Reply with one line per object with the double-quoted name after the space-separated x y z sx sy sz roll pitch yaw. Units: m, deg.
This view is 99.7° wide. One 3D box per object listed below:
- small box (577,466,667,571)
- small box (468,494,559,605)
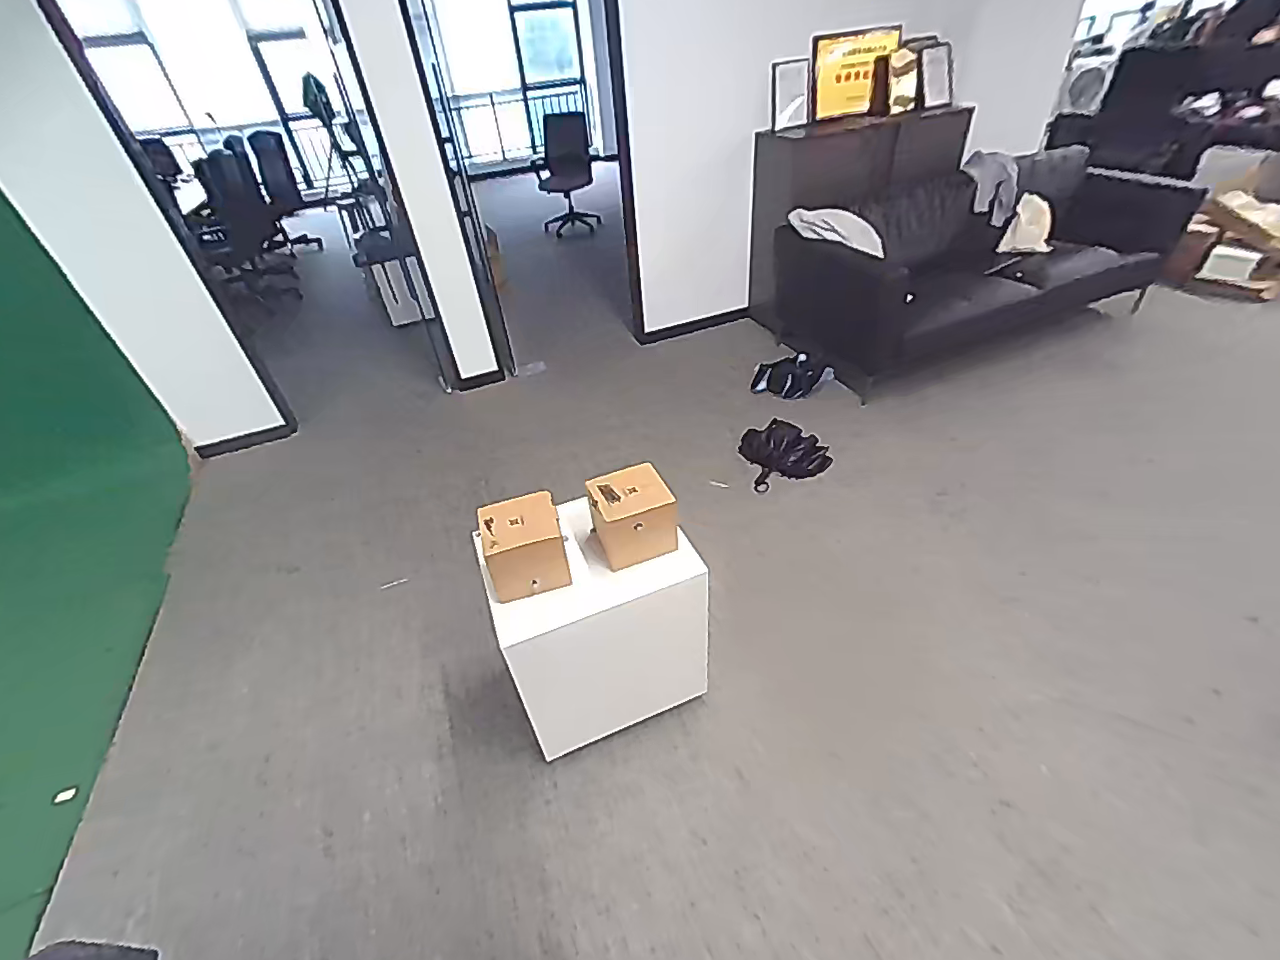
-0.041 0.096 1.320 0.179 0.176 0.168 -16 41 -17 "small box"
-0.289 0.161 1.252 0.179 0.176 0.168 -13 39 -15 "small box"
